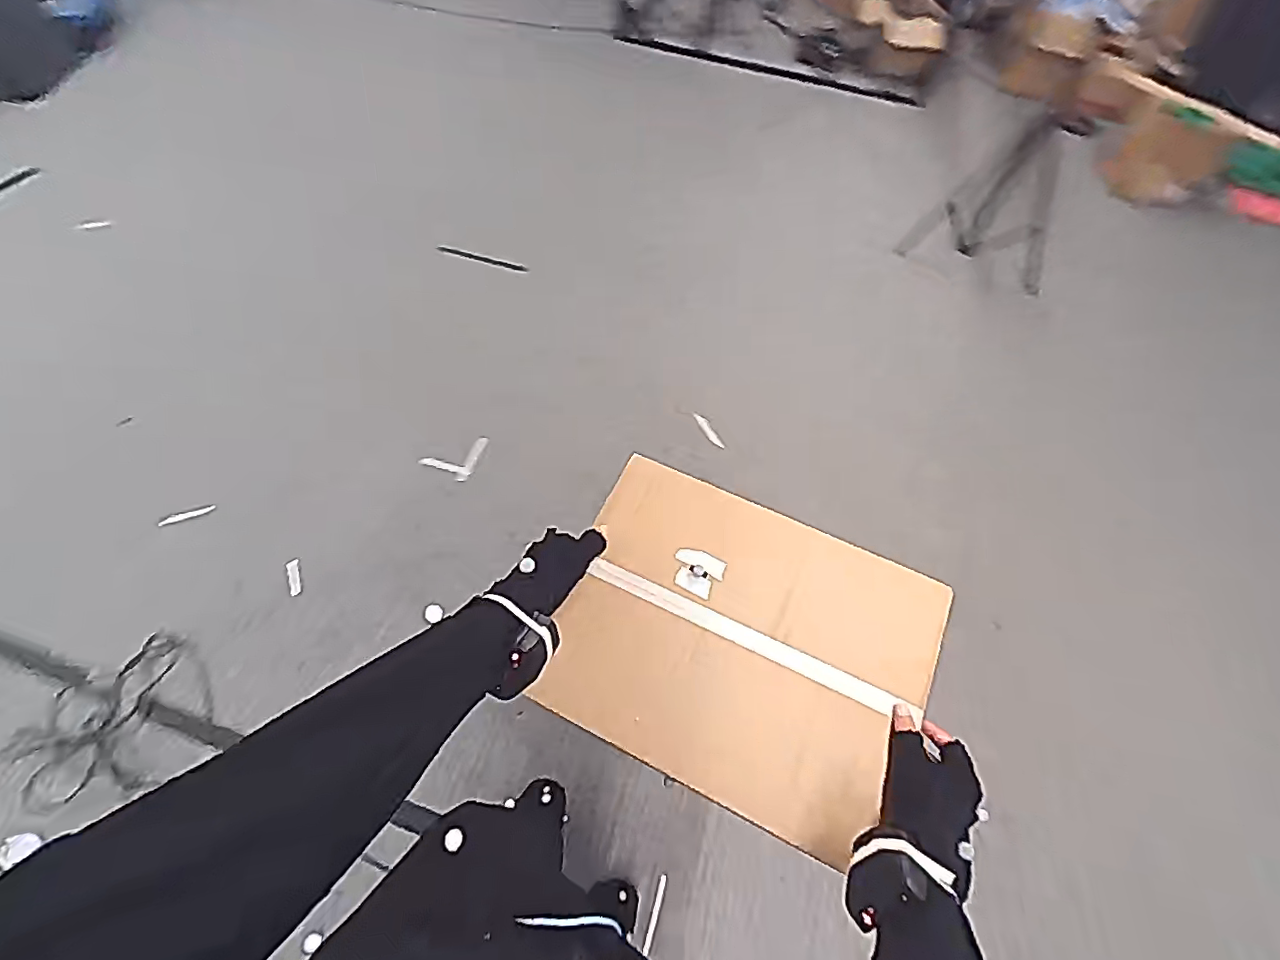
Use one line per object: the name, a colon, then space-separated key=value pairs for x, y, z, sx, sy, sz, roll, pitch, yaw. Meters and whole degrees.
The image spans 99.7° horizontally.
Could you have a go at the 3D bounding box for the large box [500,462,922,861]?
large box: x=0.094 y=0.234 z=0.739 sx=0.408 sy=0.320 sz=0.320 roll=22 pitch=66 yaw=13
